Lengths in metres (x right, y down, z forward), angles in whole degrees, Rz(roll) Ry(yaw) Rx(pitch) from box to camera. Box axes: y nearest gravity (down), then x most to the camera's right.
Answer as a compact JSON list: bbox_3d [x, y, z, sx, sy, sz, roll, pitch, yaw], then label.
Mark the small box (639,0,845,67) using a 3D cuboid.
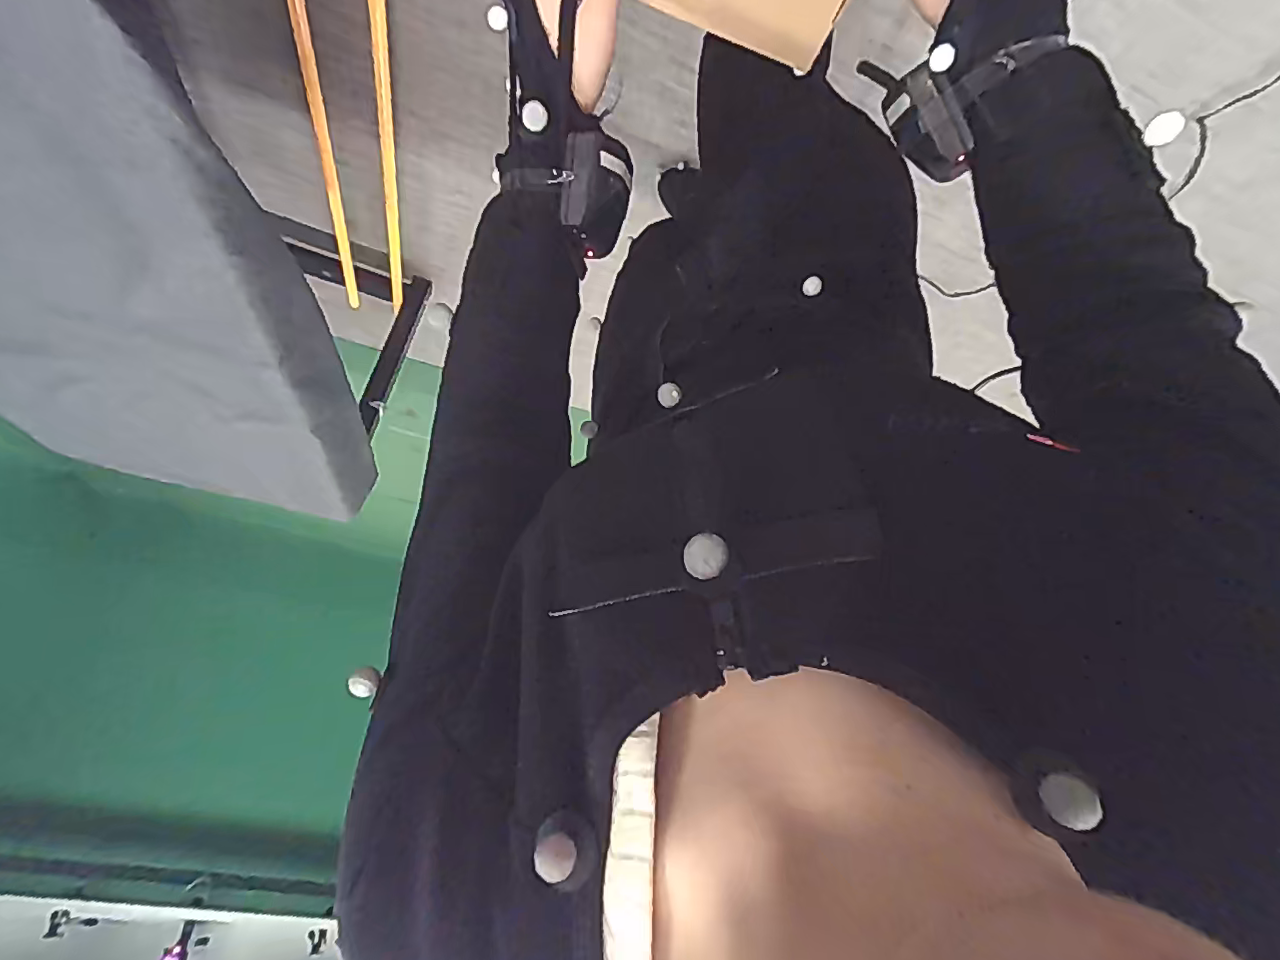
[{"bbox_3d":[0.066,-0.404,0.317,0.179,0.176,0.168,14,154,-11],"label":"small box"}]
